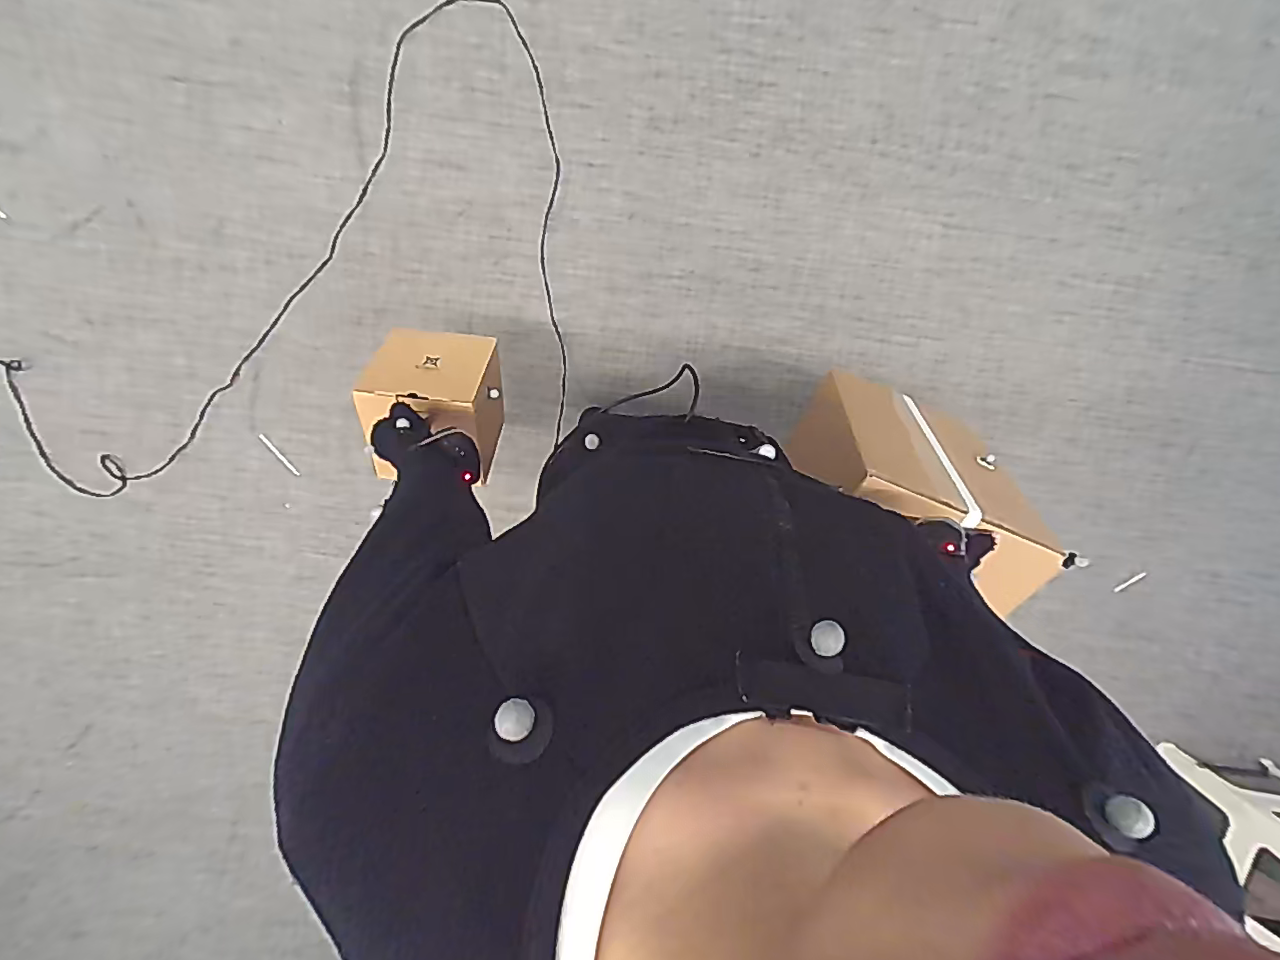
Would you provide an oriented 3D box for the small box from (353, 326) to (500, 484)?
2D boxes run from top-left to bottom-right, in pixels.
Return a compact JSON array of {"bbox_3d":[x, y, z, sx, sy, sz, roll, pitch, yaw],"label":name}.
[{"bbox_3d":[-0.322,-0.118,0.858,0.168,0.179,0.176,5,135,-4],"label":"small box"}]
